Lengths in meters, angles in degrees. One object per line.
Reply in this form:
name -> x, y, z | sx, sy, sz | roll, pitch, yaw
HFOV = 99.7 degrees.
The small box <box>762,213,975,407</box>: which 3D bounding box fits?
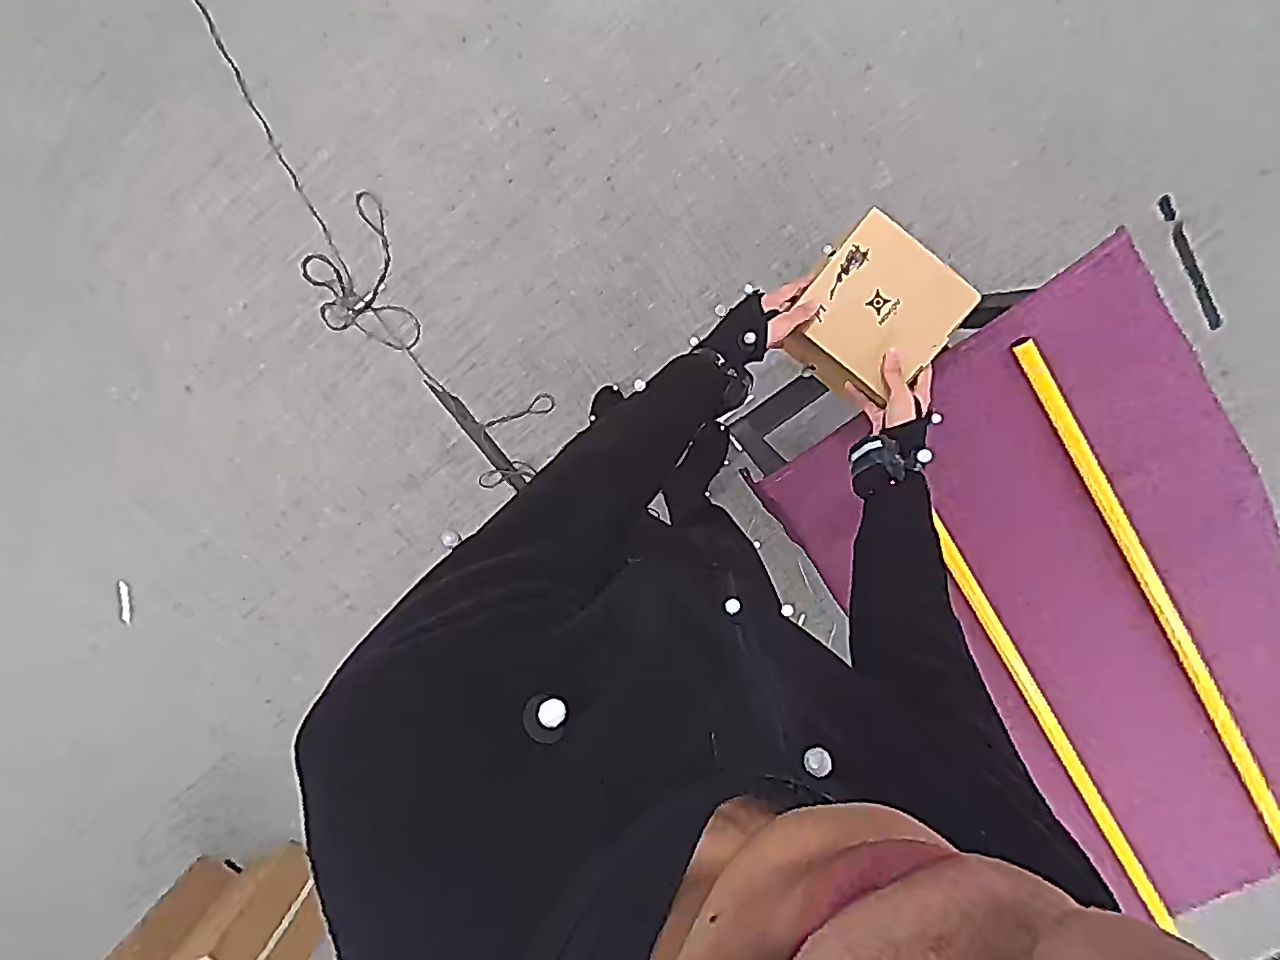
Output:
small box -> 0.295, -0.221, 0.740 | 0.179, 0.176, 0.168 | 38, 99, -4
